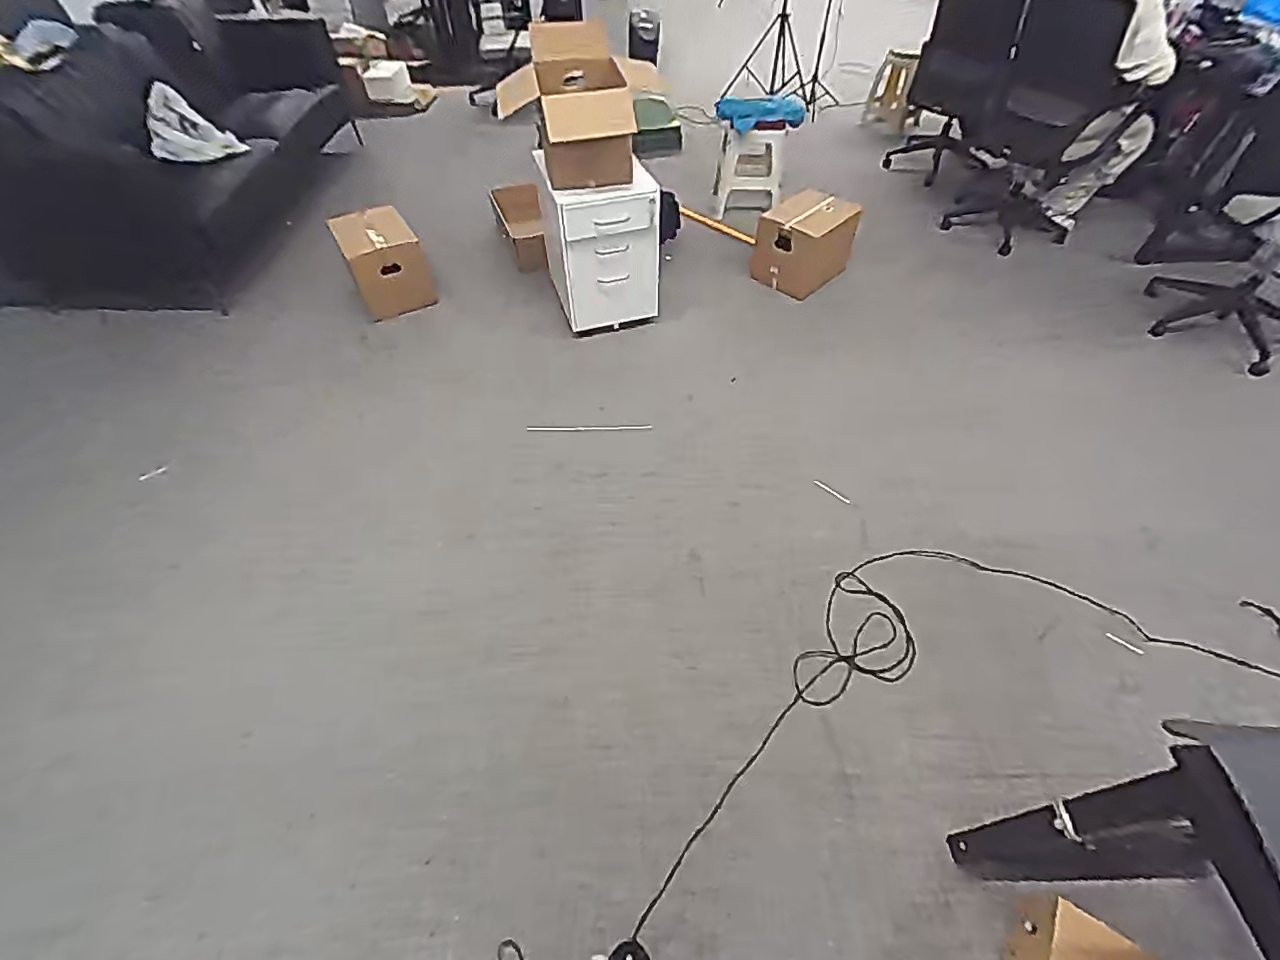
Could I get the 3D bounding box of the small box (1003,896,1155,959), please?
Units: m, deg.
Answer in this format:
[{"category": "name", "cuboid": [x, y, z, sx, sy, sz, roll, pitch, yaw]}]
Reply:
[{"category": "small box", "cuboid": [0.820, 0.938, 1.024, 0.179, 0.176, 0.168, 26, 55, 20]}]
